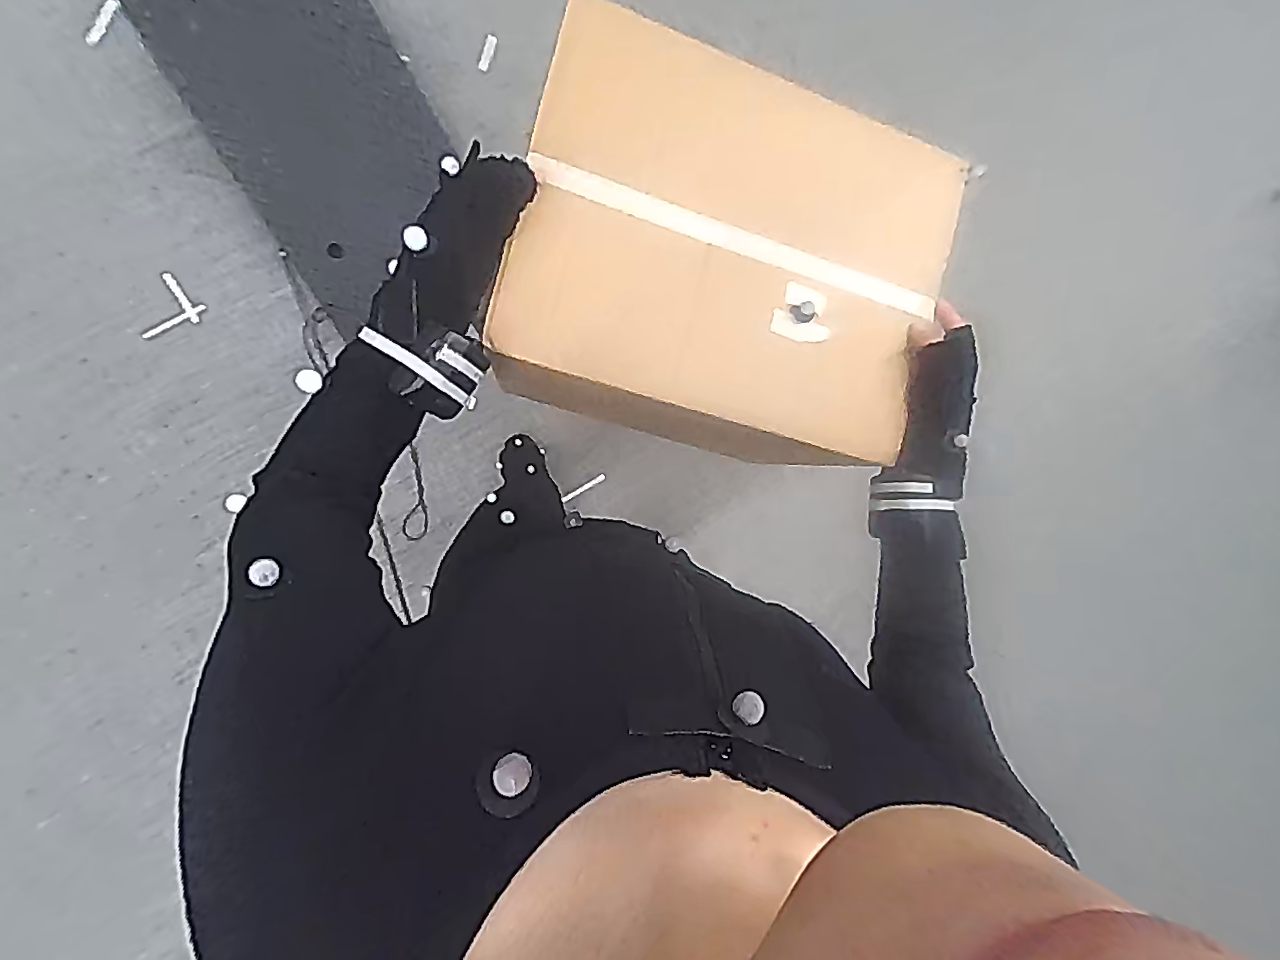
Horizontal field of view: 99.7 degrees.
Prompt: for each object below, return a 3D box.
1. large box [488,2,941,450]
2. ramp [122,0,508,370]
[{"bbox_3d":[0.055,-0.231,0.650,0.408,0.320,0.320,13,89,-12],"label":"large box"},{"bbox_3d":[-0.728,-0.825,1.325,0.509,0.206,0.991,-34,94,-11],"label":"ramp"}]
